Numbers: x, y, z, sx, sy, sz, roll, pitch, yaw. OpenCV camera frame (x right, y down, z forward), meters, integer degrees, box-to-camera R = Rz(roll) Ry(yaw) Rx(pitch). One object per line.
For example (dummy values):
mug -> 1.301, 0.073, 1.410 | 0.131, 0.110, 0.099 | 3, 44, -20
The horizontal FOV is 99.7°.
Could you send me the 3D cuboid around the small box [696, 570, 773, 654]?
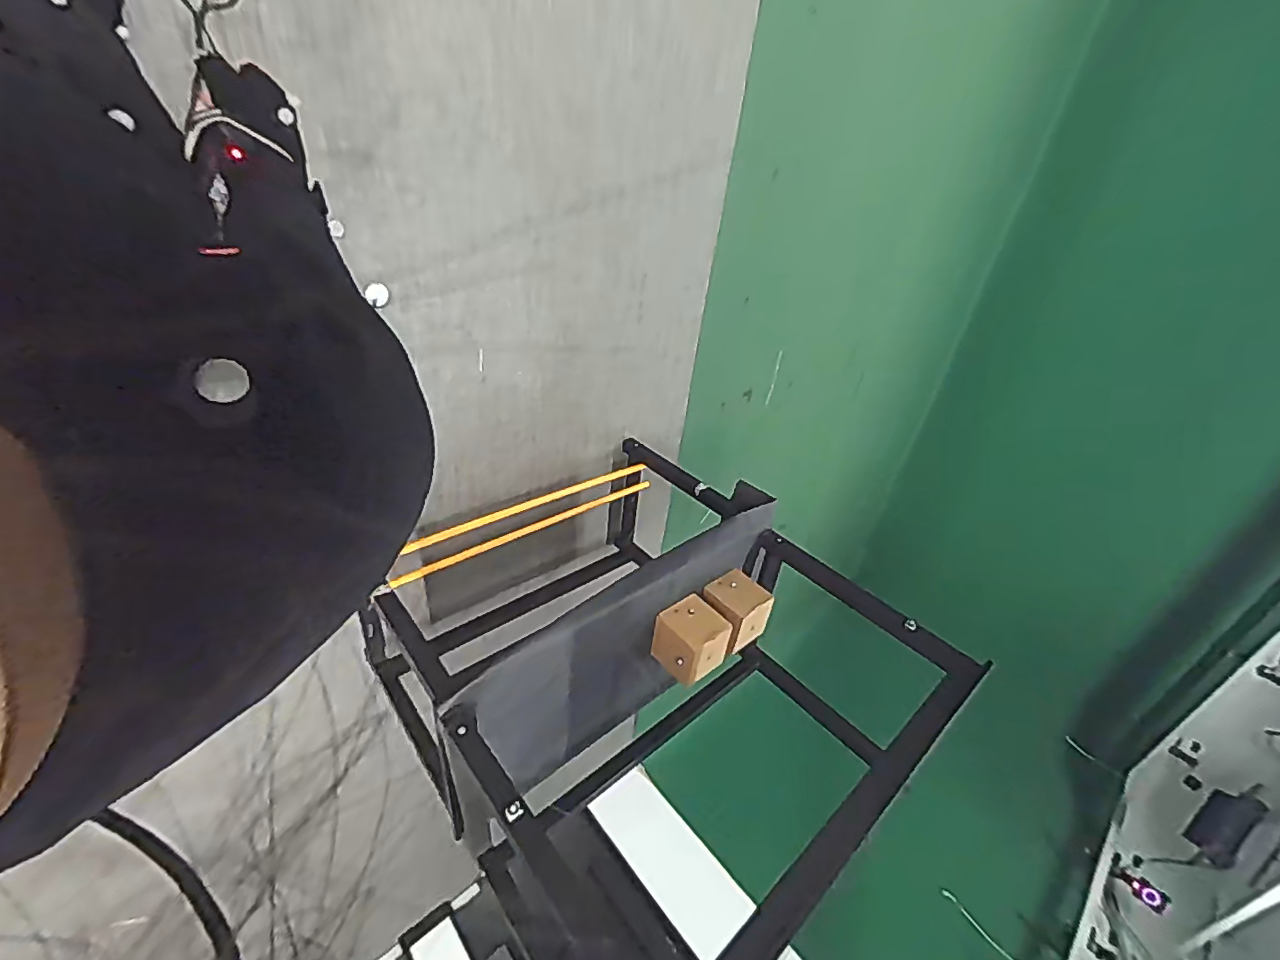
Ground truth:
small box -> 0.307, 0.432, 1.788 | 0.168, 0.176, 0.179 | -21, 132, -37
